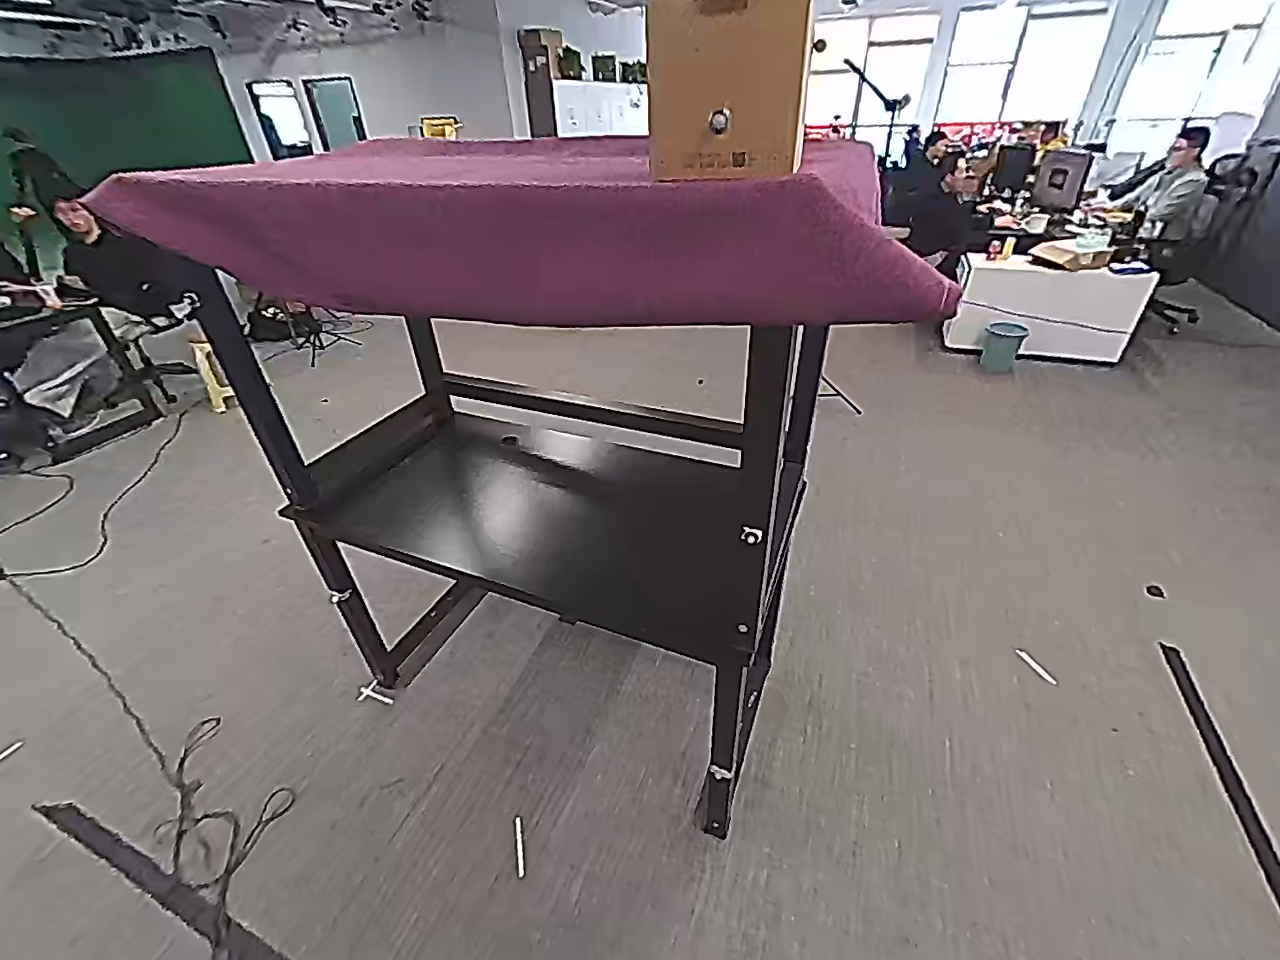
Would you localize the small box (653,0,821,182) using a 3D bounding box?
[{"bbox_3d":[0.114,-0.454,0.636,0.168,0.176,0.179,7,34,15],"label":"small box"}]
